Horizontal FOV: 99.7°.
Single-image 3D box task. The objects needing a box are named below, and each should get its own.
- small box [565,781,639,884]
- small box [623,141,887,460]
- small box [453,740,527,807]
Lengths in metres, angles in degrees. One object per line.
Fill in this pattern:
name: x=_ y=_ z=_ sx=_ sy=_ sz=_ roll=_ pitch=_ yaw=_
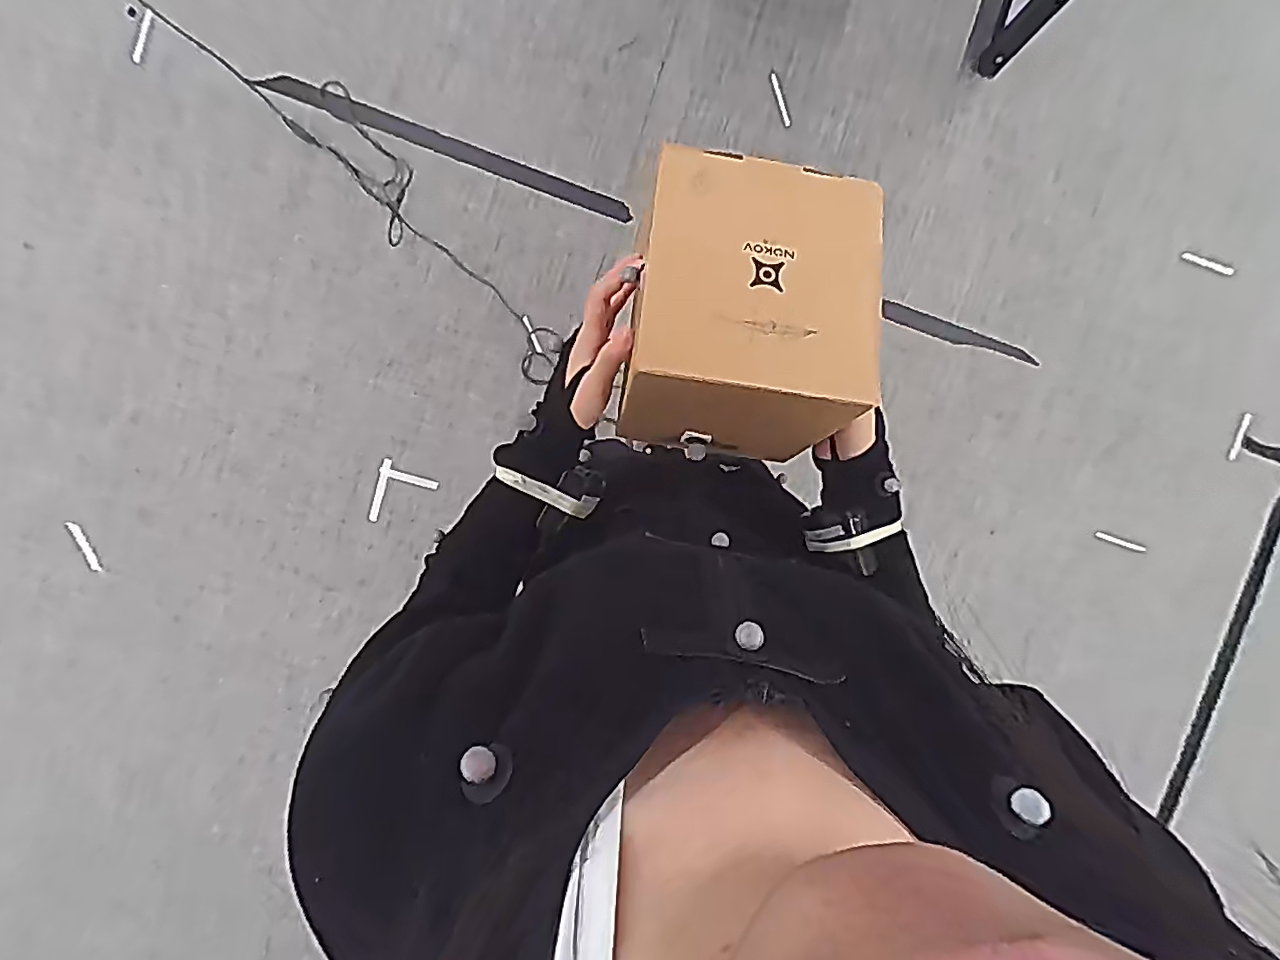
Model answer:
small box: x=-0.102 y=0.942 z=1.457 sx=0.179 sy=0.176 sz=0.168 roll=6 pitch=93 yaw=-4
small box: x=0.079 y=-0.127 z=0.445 sx=0.168 sy=0.176 sz=0.179 roll=7 pitch=78 yaw=-5
small box: x=-0.412 y=0.834 z=1.435 sx=0.168 sy=0.176 sz=0.179 roll=21 pitch=92 yaw=-4
